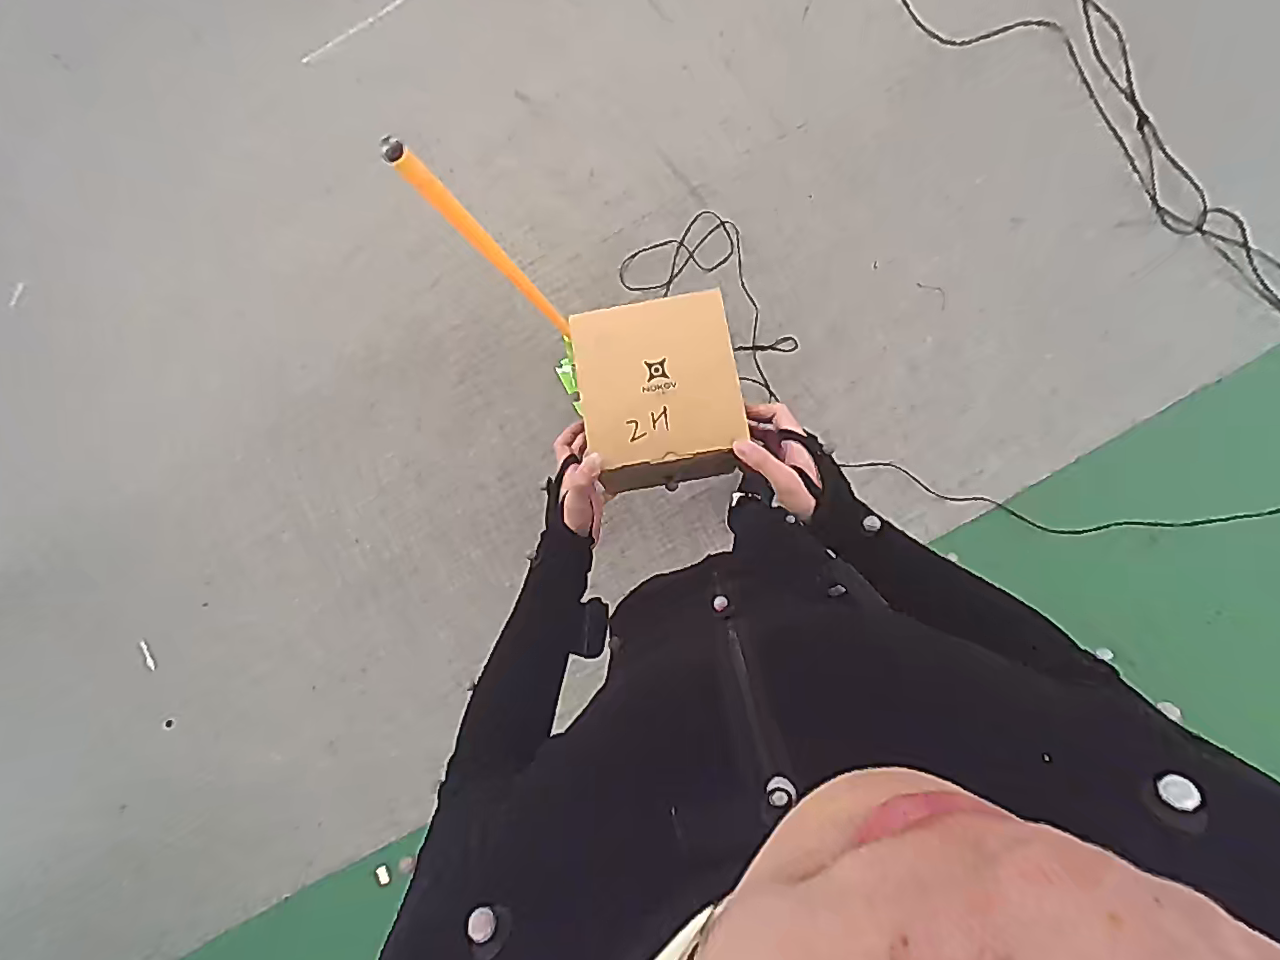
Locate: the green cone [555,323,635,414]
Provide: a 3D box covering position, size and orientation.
[{"bbox_3d":[-0.152,-0.344,1.509,0.202,0.368,0.200,-29,83,0],"label":"green cone"}]
